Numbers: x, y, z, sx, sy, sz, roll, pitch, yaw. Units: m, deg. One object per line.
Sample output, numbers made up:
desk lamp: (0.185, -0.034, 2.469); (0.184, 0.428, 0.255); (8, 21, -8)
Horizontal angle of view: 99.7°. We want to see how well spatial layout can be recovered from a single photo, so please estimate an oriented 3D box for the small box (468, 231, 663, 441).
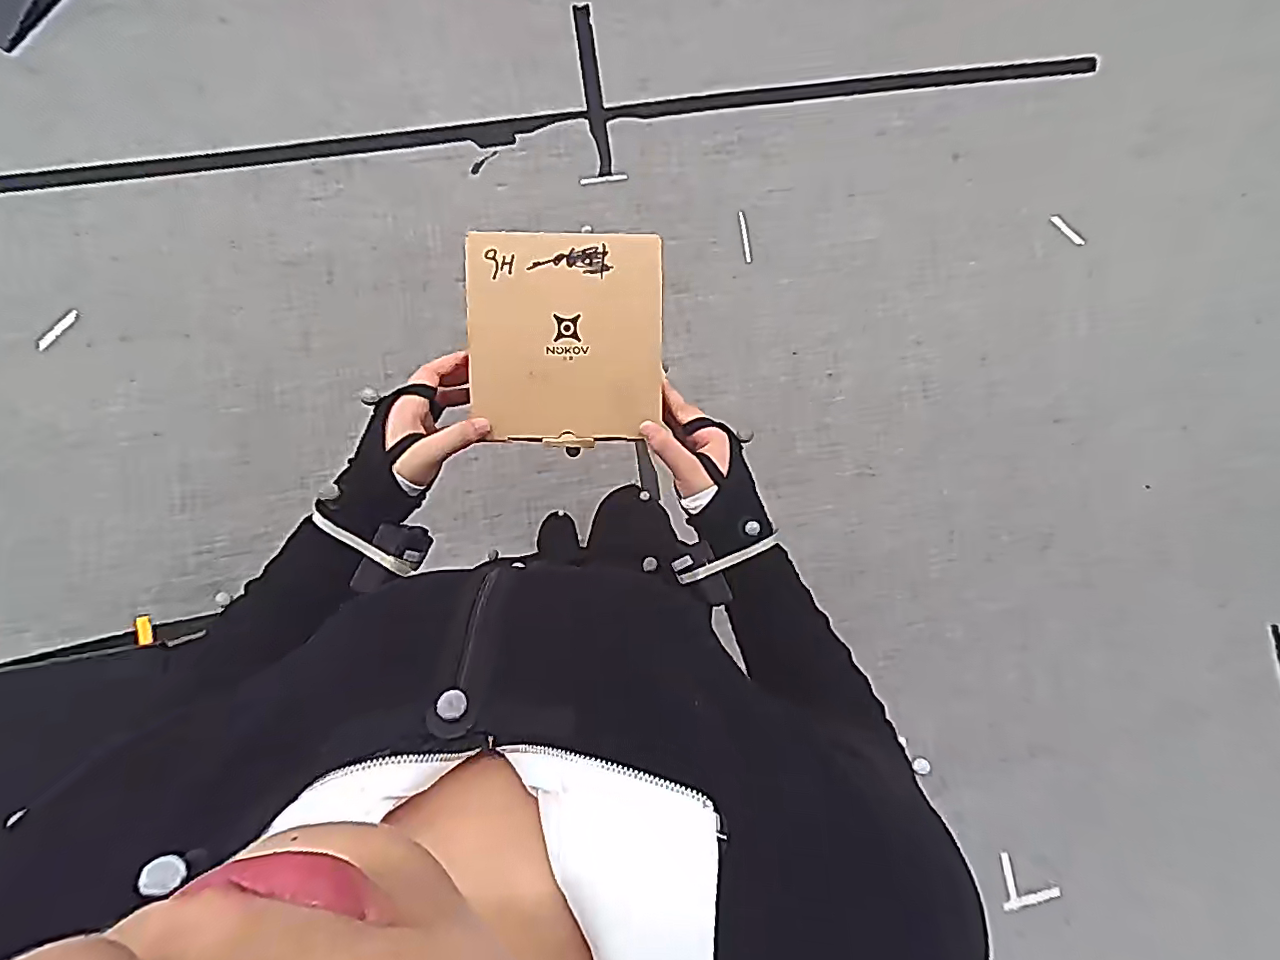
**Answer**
small box: (-0.066, -0.131, 0.542); (0.168, 0.176, 0.179); (-1, 96, -3)
